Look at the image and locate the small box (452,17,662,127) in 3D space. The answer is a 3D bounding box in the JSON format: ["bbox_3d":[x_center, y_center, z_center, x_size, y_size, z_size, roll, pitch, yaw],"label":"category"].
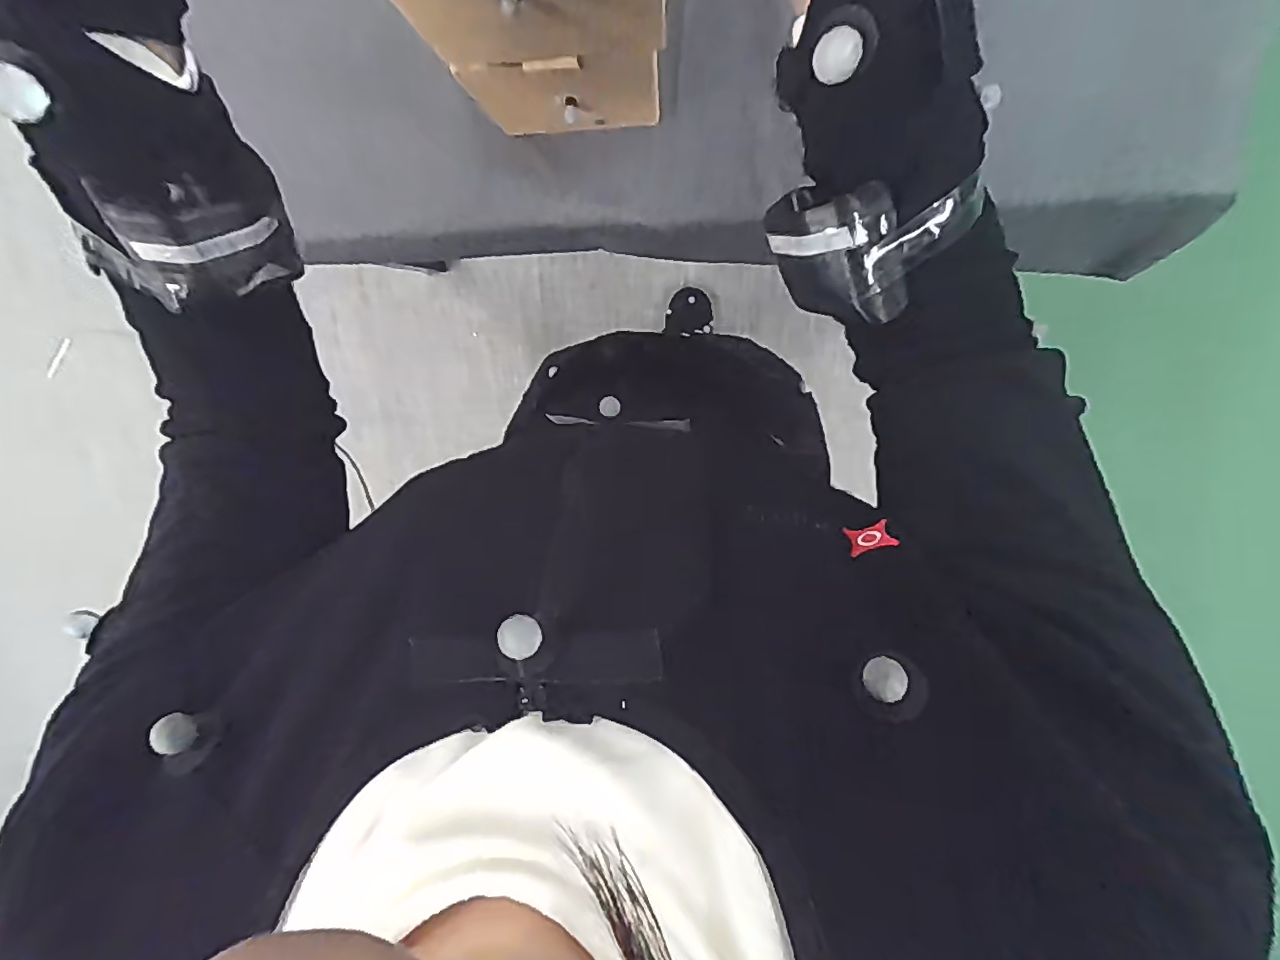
[{"bbox_3d":[-0.068,-0.435,0.480,0.168,0.176,0.179,-2,108,5],"label":"small box"}]

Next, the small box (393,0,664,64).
[{"bbox_3d":[-0.073,-0.383,0.324,0.179,0.176,0.168,0,107,5],"label":"small box"}]
